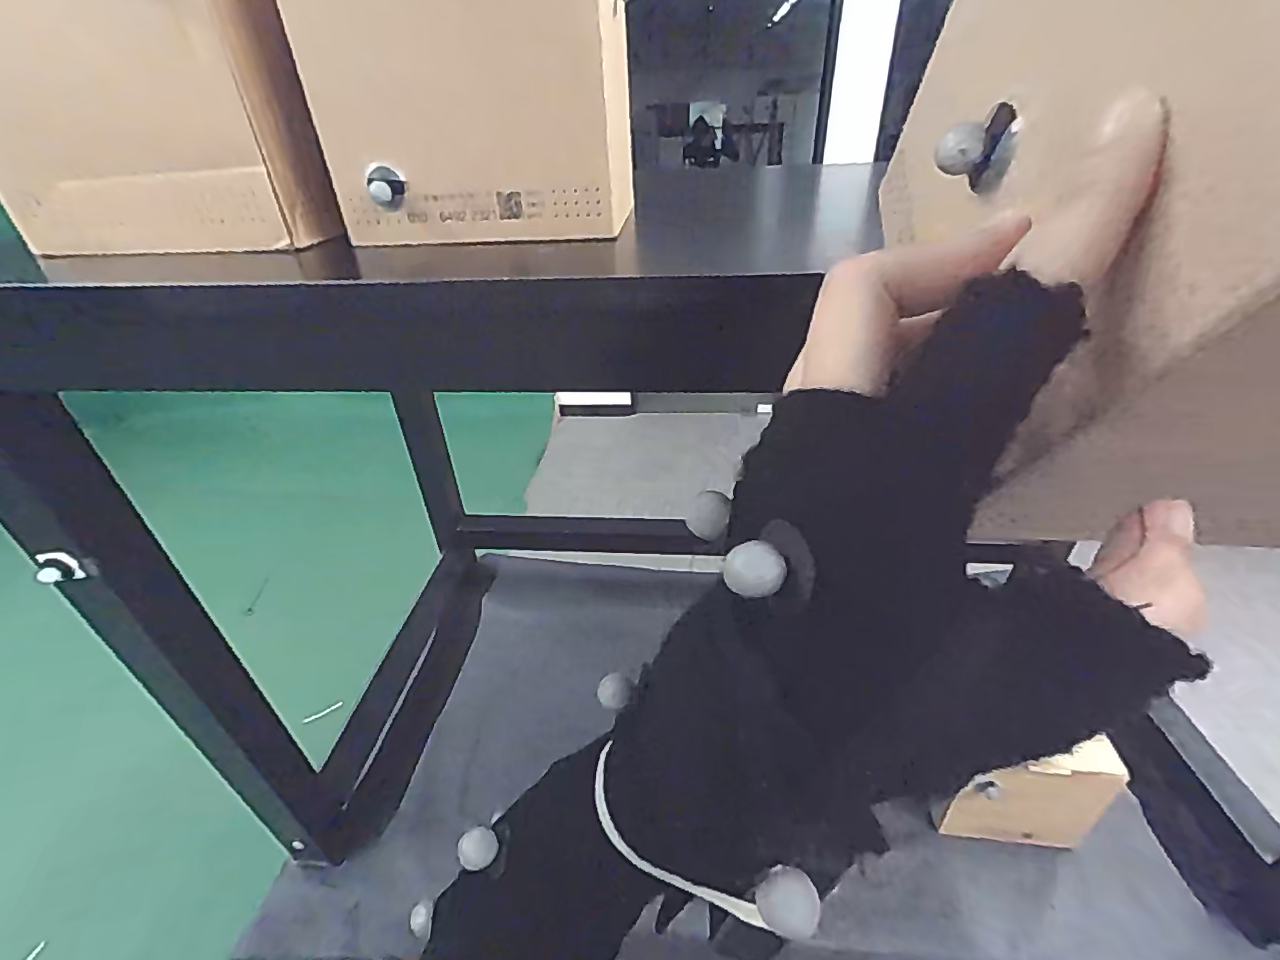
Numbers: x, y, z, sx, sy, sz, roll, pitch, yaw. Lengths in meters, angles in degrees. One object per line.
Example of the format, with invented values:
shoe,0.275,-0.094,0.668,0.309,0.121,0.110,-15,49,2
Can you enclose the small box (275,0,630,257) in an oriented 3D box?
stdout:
small box,-0.096,-0.250,0.360,0.168,0.176,0.179,0,32,4

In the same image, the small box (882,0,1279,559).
small box,0.176,-0.078,0.139,0.179,0.176,0.168,2,69,7
